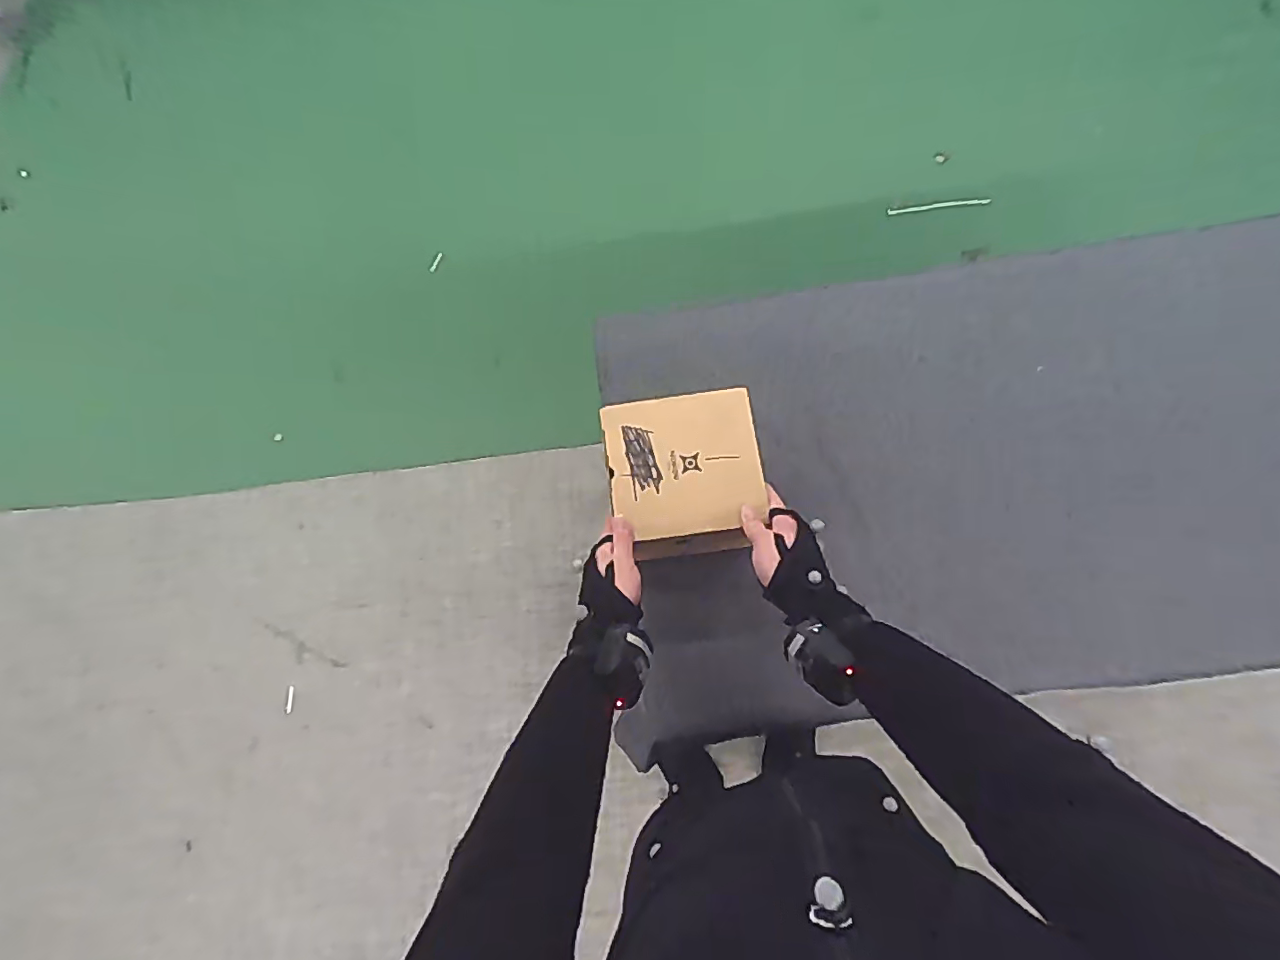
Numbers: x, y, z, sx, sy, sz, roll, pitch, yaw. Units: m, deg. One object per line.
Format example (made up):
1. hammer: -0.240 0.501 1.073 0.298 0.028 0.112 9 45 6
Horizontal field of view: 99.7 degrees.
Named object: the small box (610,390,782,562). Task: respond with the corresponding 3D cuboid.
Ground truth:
1. small box: 0.062 0.005 0.678 0.179 0.176 0.168 -6 74 0
